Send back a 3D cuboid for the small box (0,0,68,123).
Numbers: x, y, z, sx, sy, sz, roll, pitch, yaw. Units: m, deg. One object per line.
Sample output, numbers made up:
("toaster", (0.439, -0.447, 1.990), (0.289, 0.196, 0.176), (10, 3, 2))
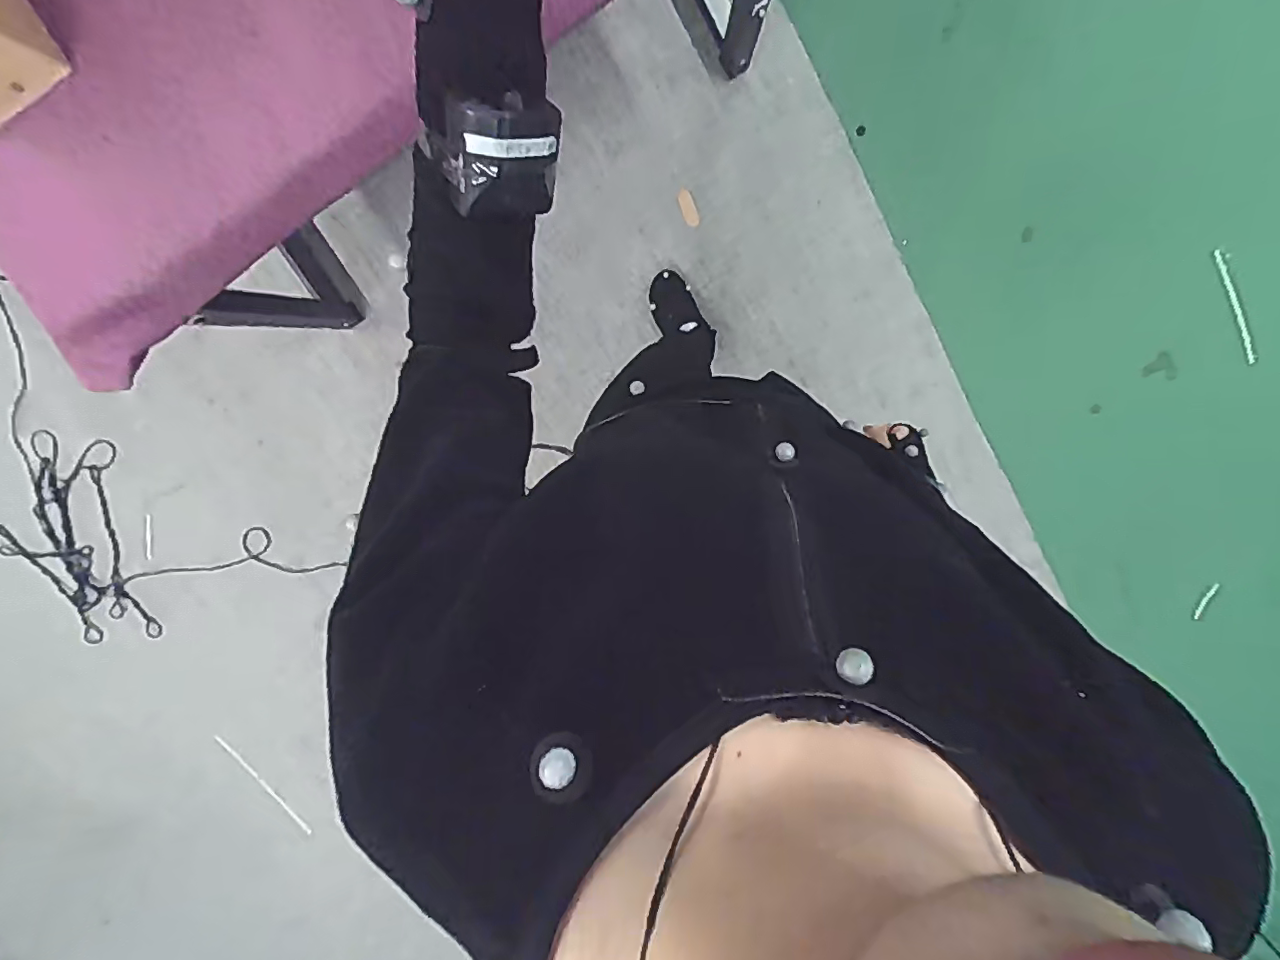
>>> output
("small box", (-0.797, -0.511, 0.575), (0.168, 0.176, 0.179), (-27, 101, 9))
